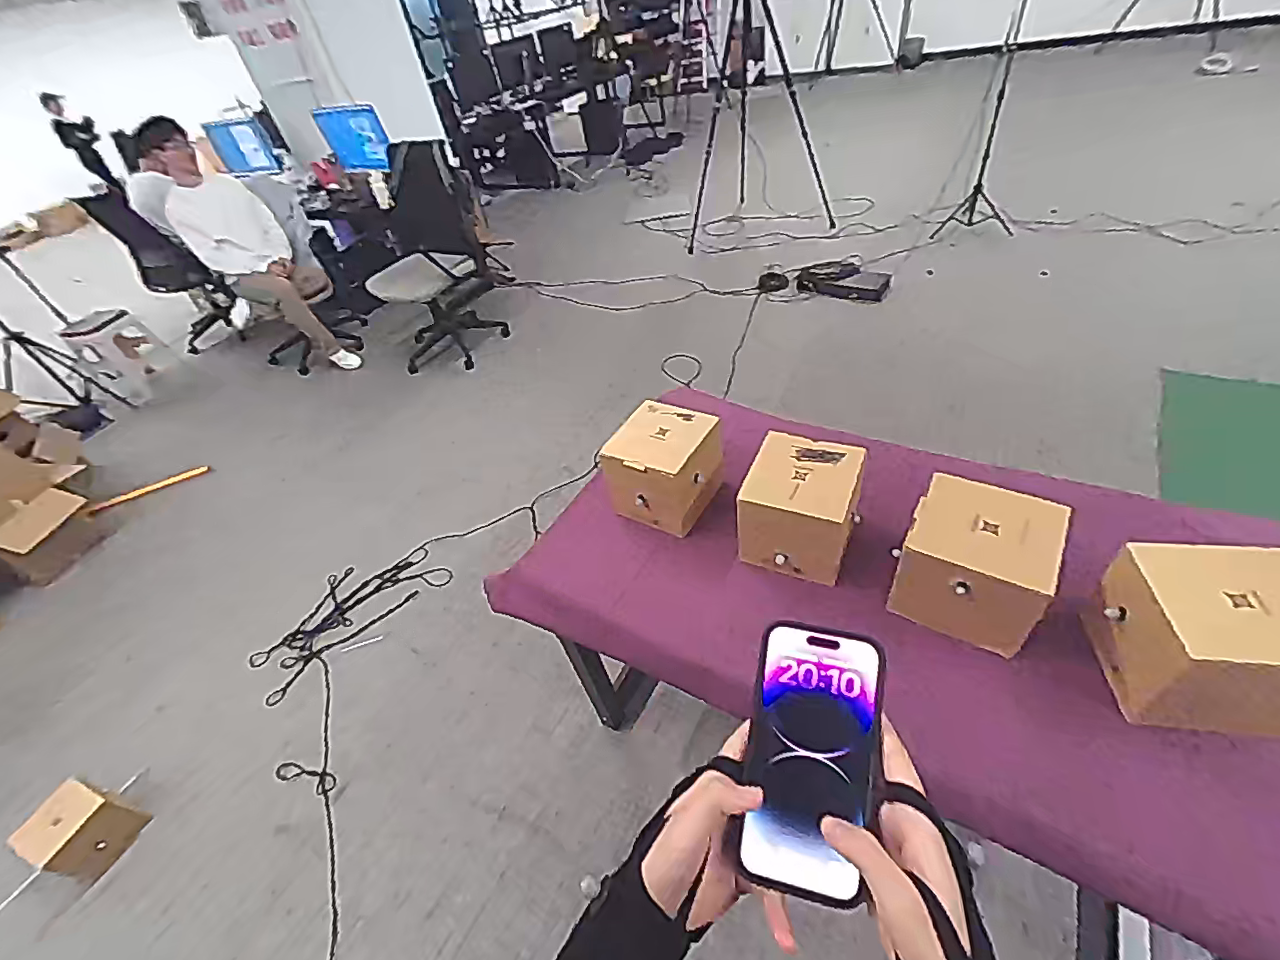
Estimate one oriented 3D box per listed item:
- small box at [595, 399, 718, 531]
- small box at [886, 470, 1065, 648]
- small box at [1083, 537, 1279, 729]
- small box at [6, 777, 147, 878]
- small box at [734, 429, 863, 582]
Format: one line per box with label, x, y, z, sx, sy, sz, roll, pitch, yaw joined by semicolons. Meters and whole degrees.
small box;0.043;-0.028;1.052;0.168;0.176;0.179;18;52;29
small box;0.483;0.117;0.799;0.179;0.176;0.168;20;53;30
small box;0.696;0.189;0.672;0.179;0.176;0.168;1;44;14
small box;-1.504;0.939;1.455;0.179;0.176;0.168;10;48;22
small box;0.269;0.042;0.926;0.168;0.176;0.179;13;50;26
